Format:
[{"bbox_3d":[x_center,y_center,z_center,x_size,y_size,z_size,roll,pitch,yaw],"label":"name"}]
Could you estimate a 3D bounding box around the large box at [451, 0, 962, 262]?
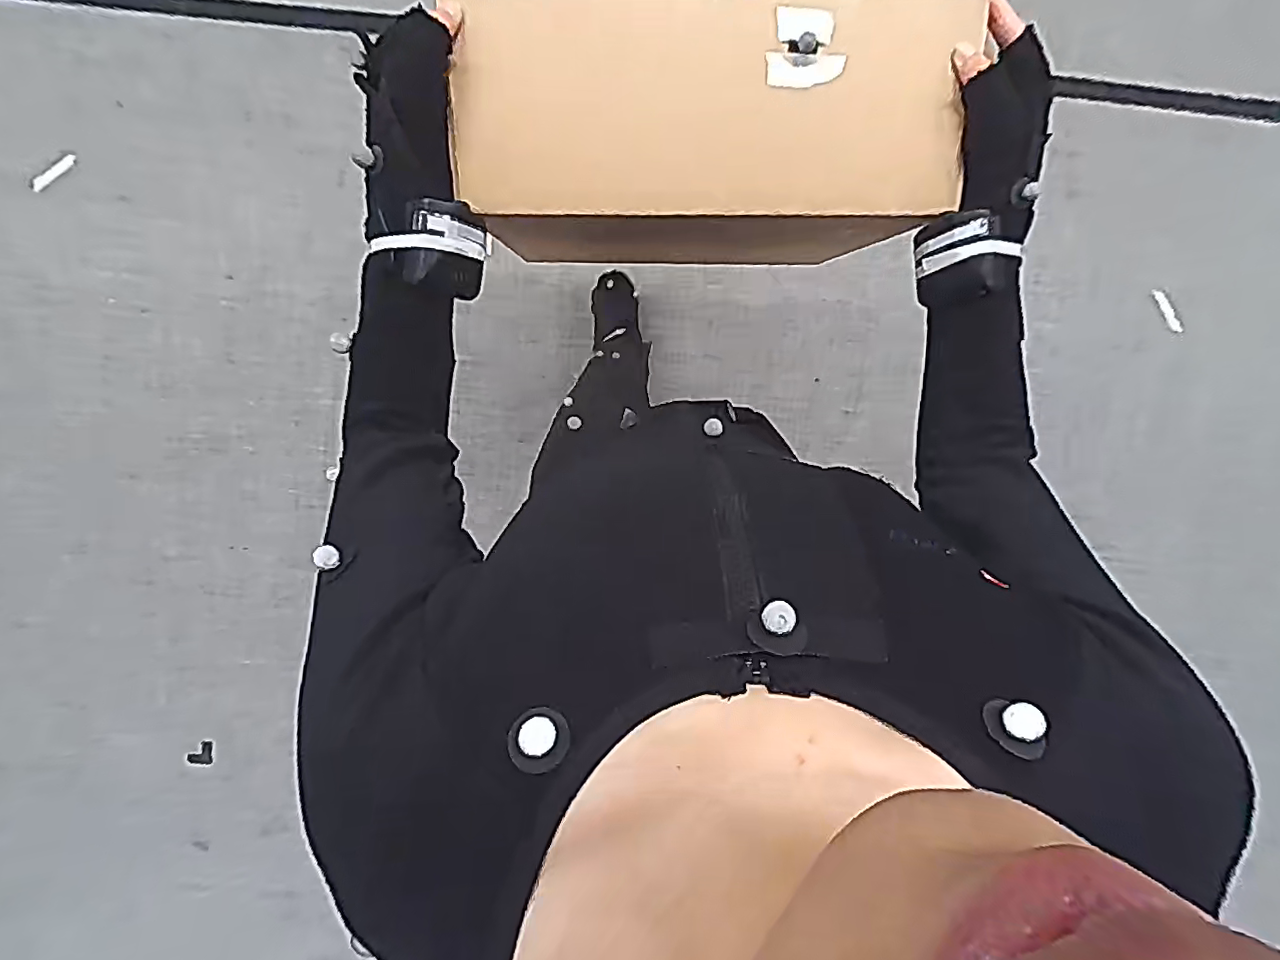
[{"bbox_3d":[0.046,-0.413,0.557,0.408,0.320,0.320,-1,106,-2],"label":"large box"}]
